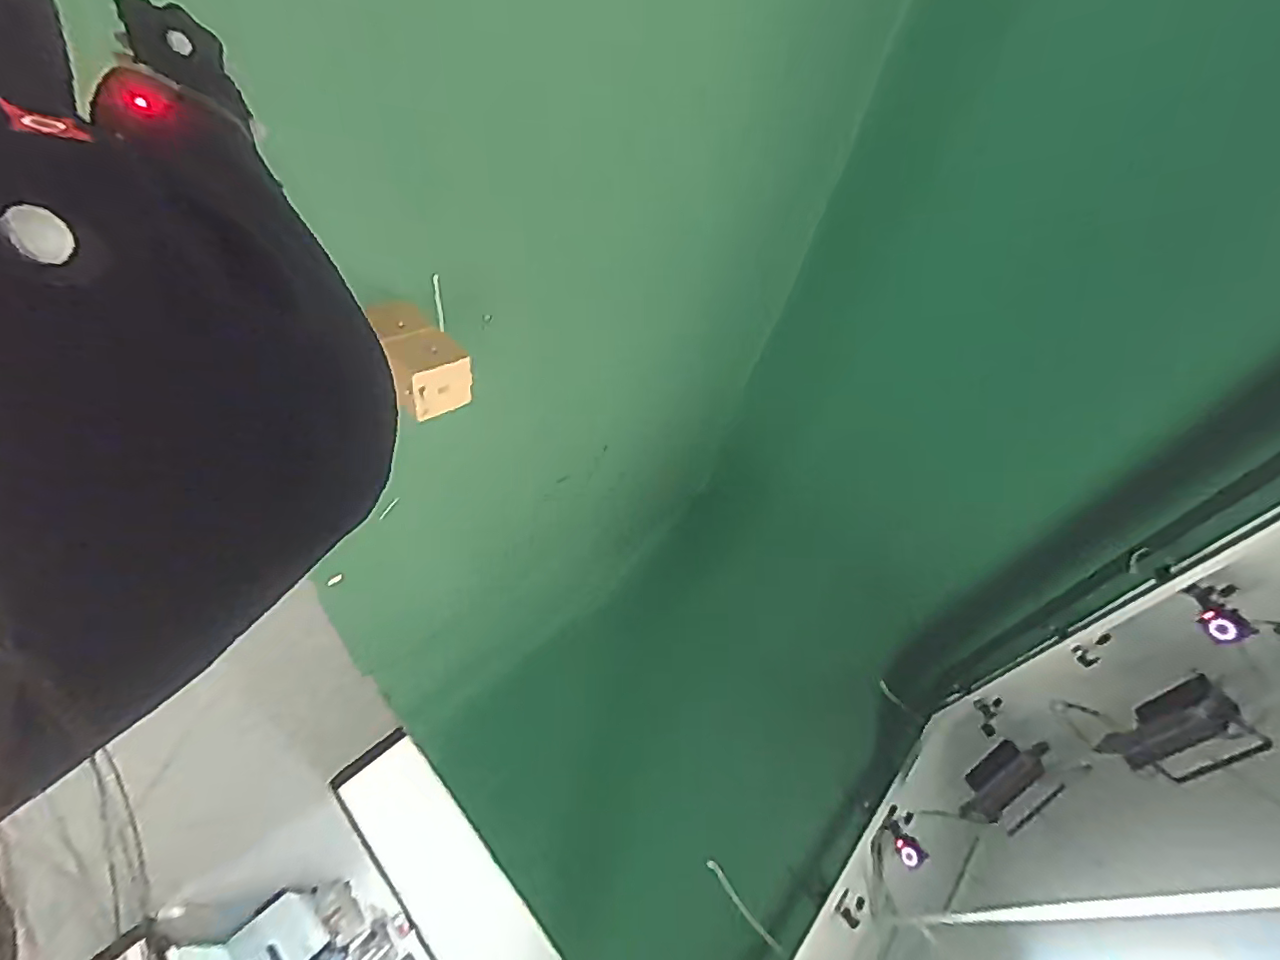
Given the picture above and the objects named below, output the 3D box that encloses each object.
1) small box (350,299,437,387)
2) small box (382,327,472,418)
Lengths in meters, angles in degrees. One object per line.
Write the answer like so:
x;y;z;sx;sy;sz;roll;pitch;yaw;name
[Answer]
-0.717;-0.410;1.592;0.179;0.176;0.168;-31;151;-35;small box
-0.599;-0.311;1.535;0.179;0.176;0.168;-33;152;-37;small box
